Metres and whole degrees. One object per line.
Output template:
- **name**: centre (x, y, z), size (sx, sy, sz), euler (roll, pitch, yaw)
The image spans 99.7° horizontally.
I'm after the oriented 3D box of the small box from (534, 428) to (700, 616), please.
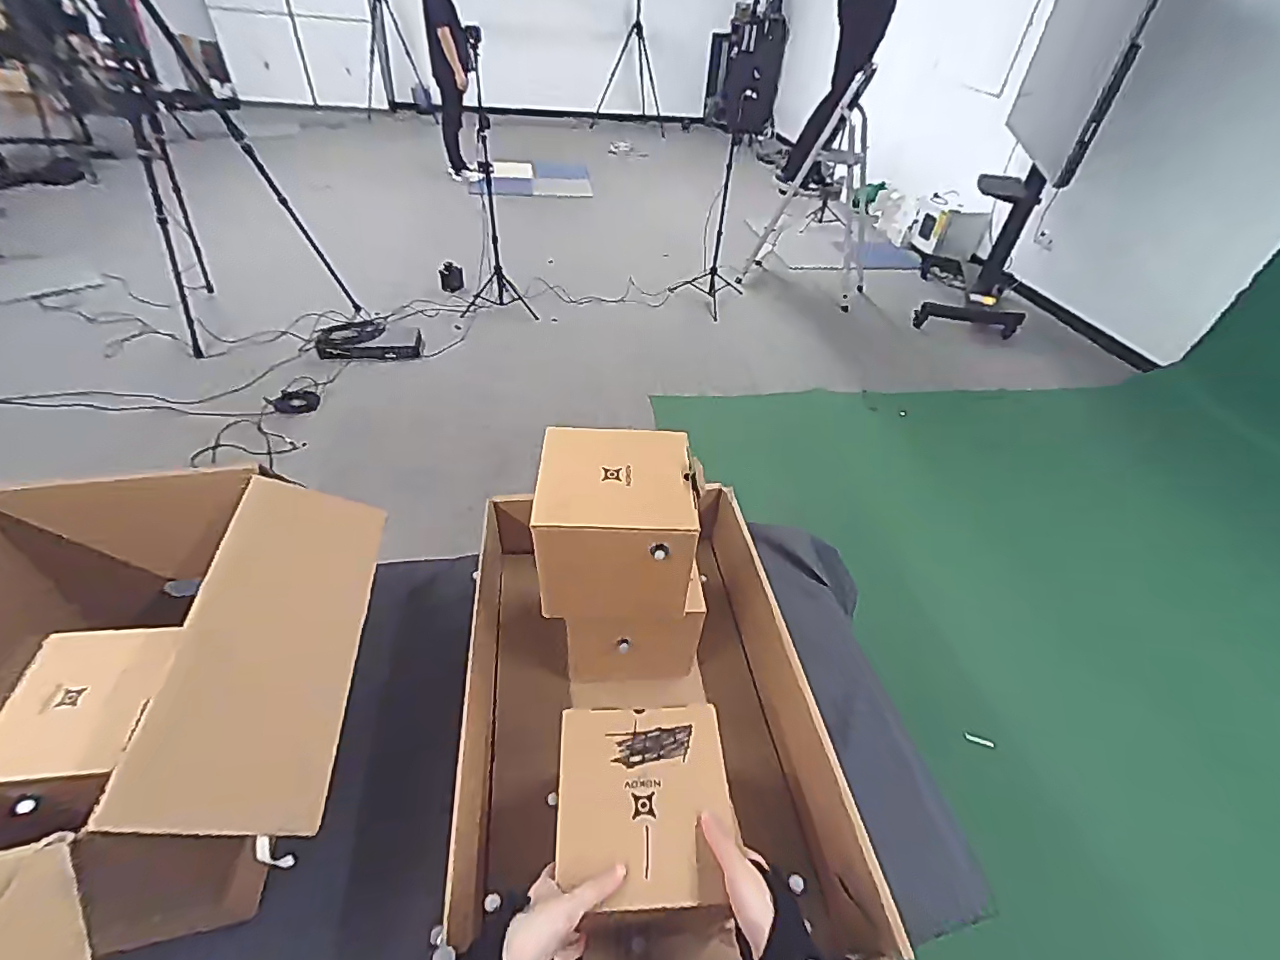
- **small box**: centre (-0.029, 0.054, 0.669), size (0.179, 0.176, 0.168), euler (2, 44, -4)
